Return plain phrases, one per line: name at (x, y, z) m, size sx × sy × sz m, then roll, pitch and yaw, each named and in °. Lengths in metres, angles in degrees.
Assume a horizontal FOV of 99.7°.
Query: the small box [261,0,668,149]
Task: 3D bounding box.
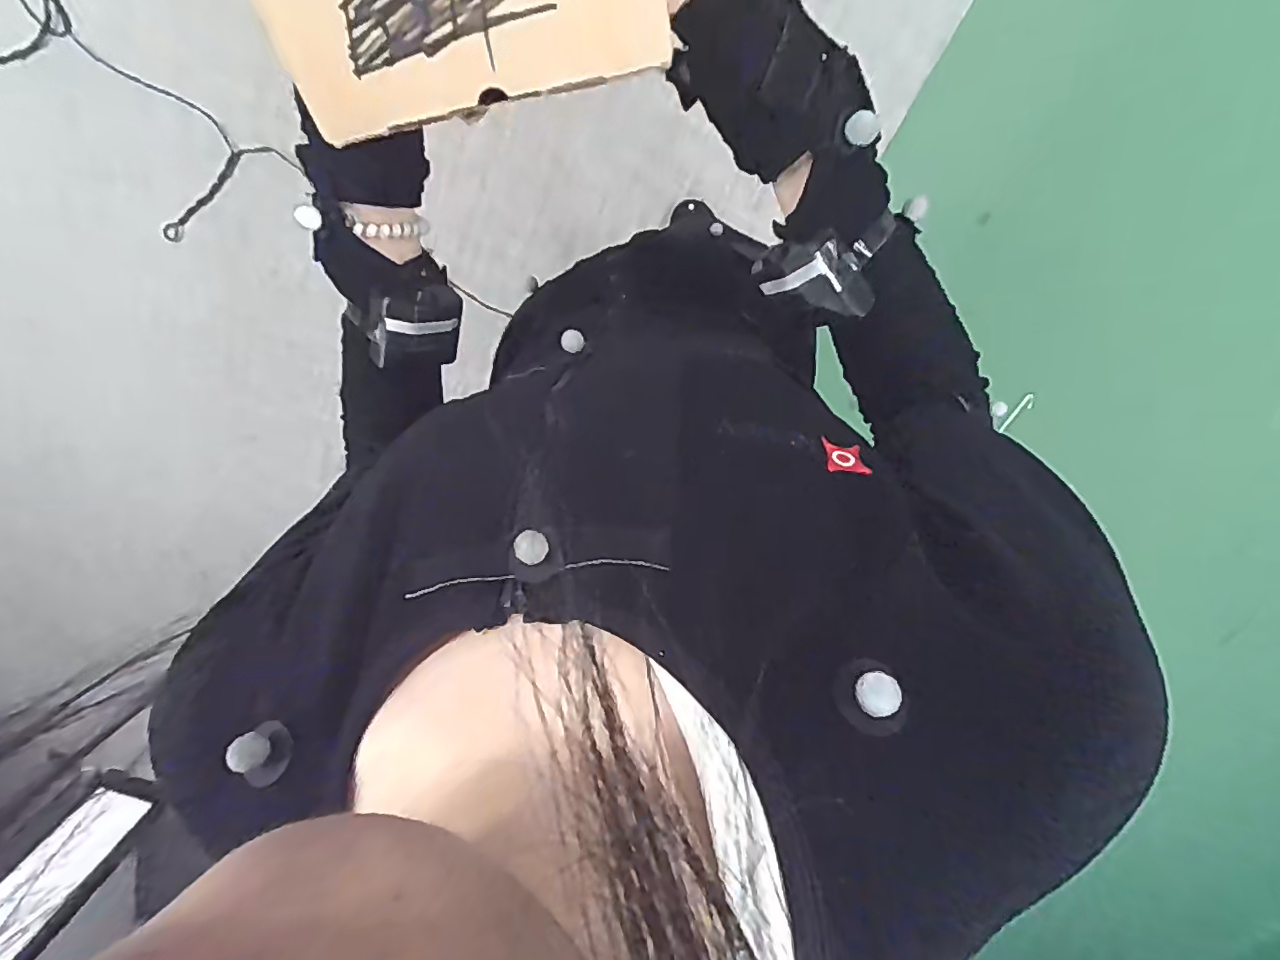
small box at (-0.081, -0.284, 0.252) m, size 0.168 × 0.176 × 0.179 m, roll -9°, pitch 131°, yaw 6°
